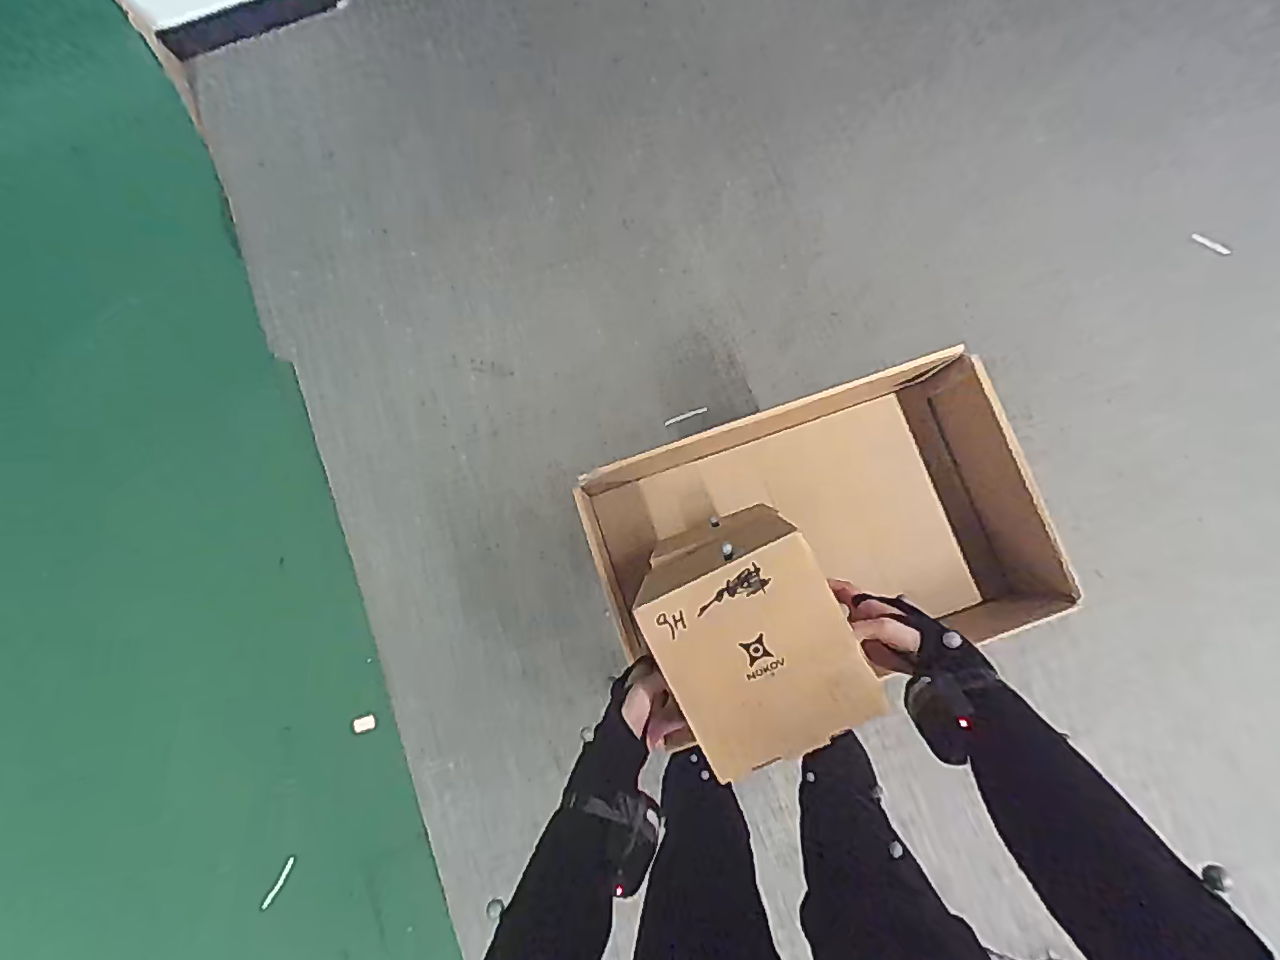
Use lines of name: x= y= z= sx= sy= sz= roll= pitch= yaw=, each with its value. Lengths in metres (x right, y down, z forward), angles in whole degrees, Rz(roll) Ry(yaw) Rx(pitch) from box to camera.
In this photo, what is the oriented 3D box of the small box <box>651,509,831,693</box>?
small box: x=0.125 y=0.143 z=0.712 sx=0.168 sy=0.176 sz=0.179 roll=-21 pitch=90 yaw=7
